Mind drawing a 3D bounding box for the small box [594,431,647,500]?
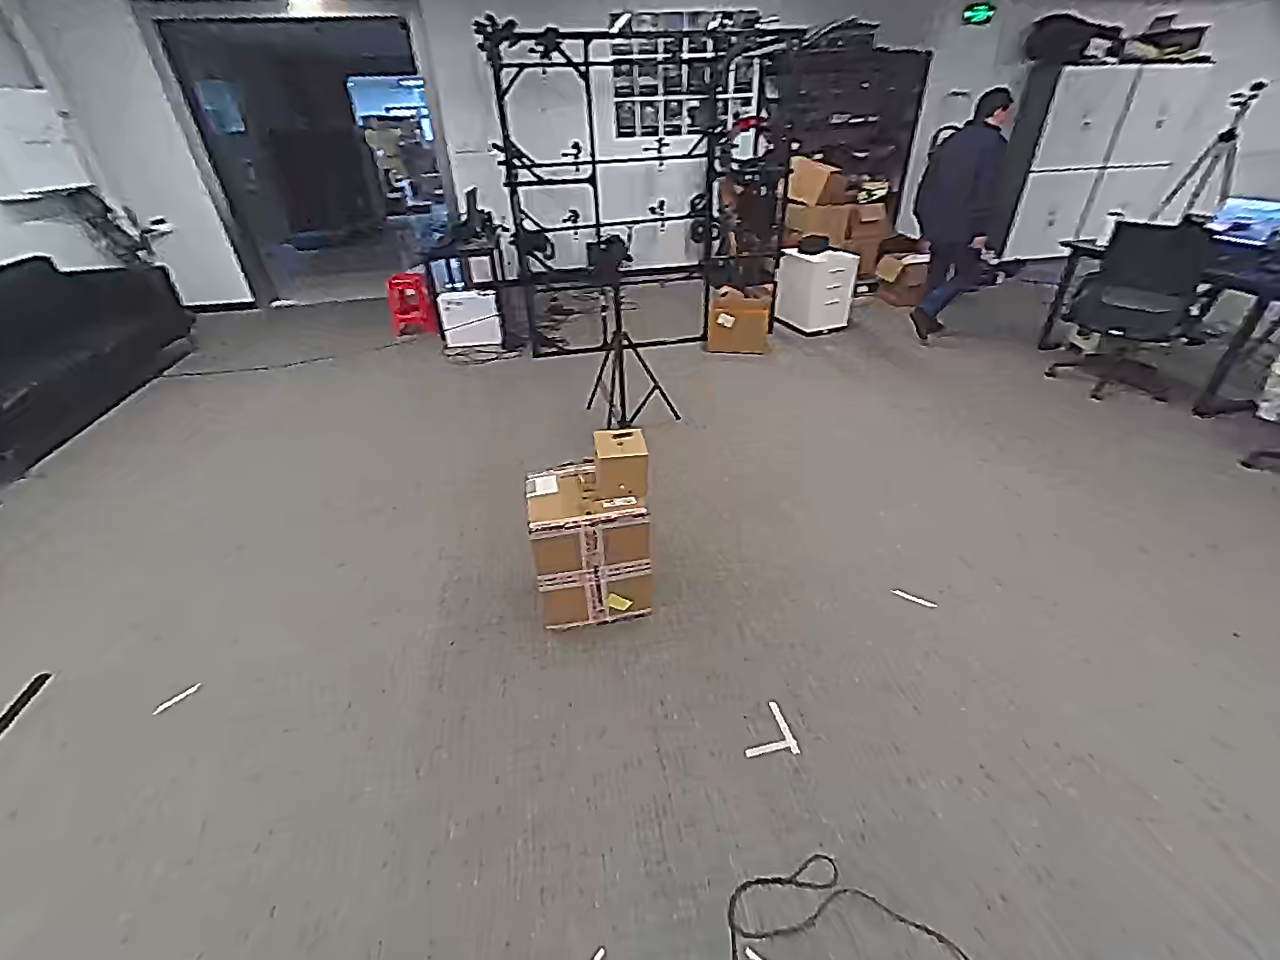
[{"bbox_3d":[-0.071,-0.052,1.854,0.168,0.176,0.179,-5,36,-8],"label":"small box"}]
